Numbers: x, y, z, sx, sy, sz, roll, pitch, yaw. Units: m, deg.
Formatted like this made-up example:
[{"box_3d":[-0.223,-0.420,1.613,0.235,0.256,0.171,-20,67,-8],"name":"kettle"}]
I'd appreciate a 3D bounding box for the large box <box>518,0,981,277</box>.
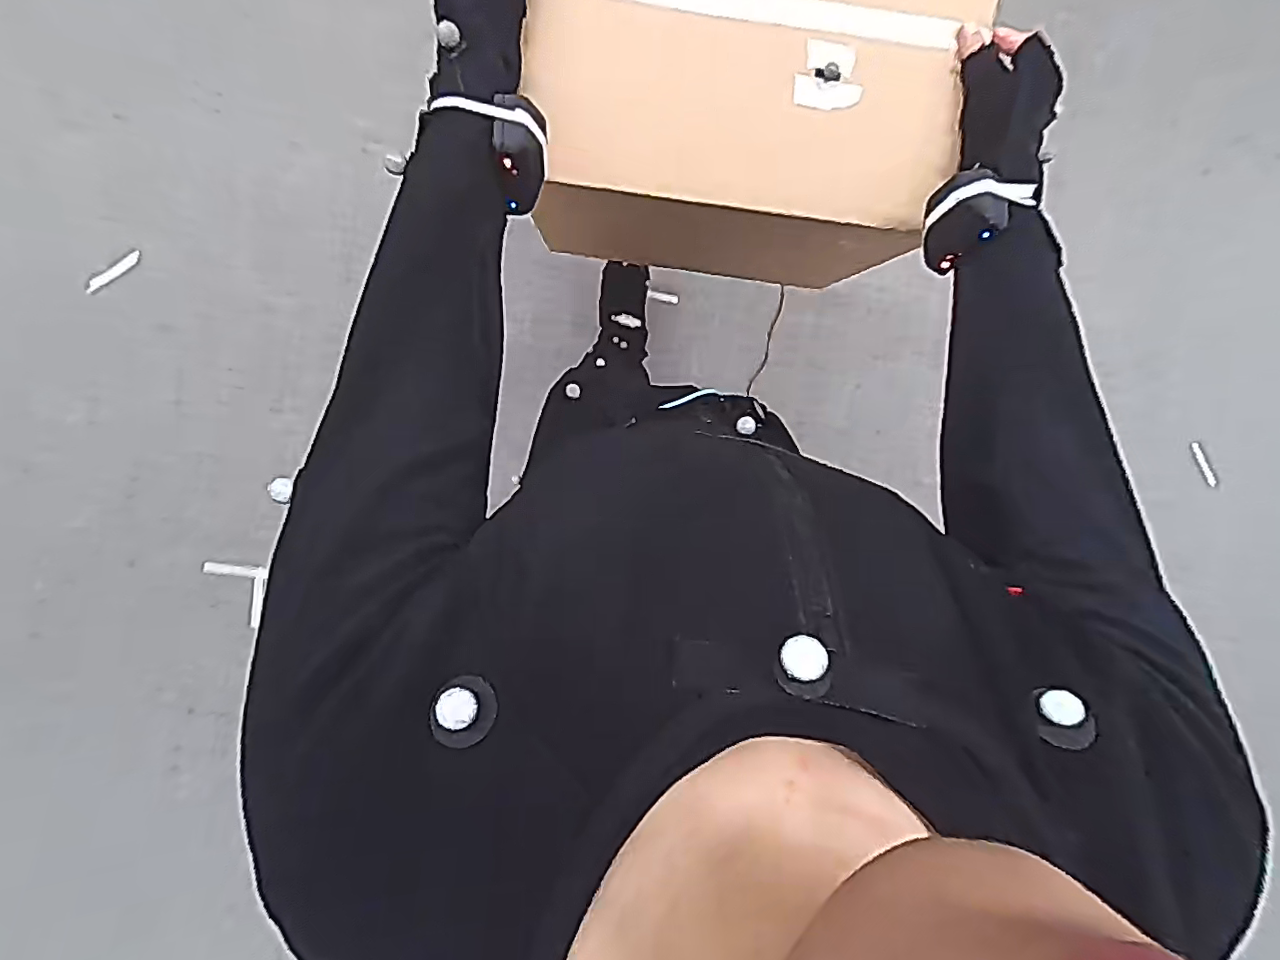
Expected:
[{"box_3d":[0.091,-0.439,0.617,0.408,0.320,0.320,6,101,-4],"name":"large box"}]
